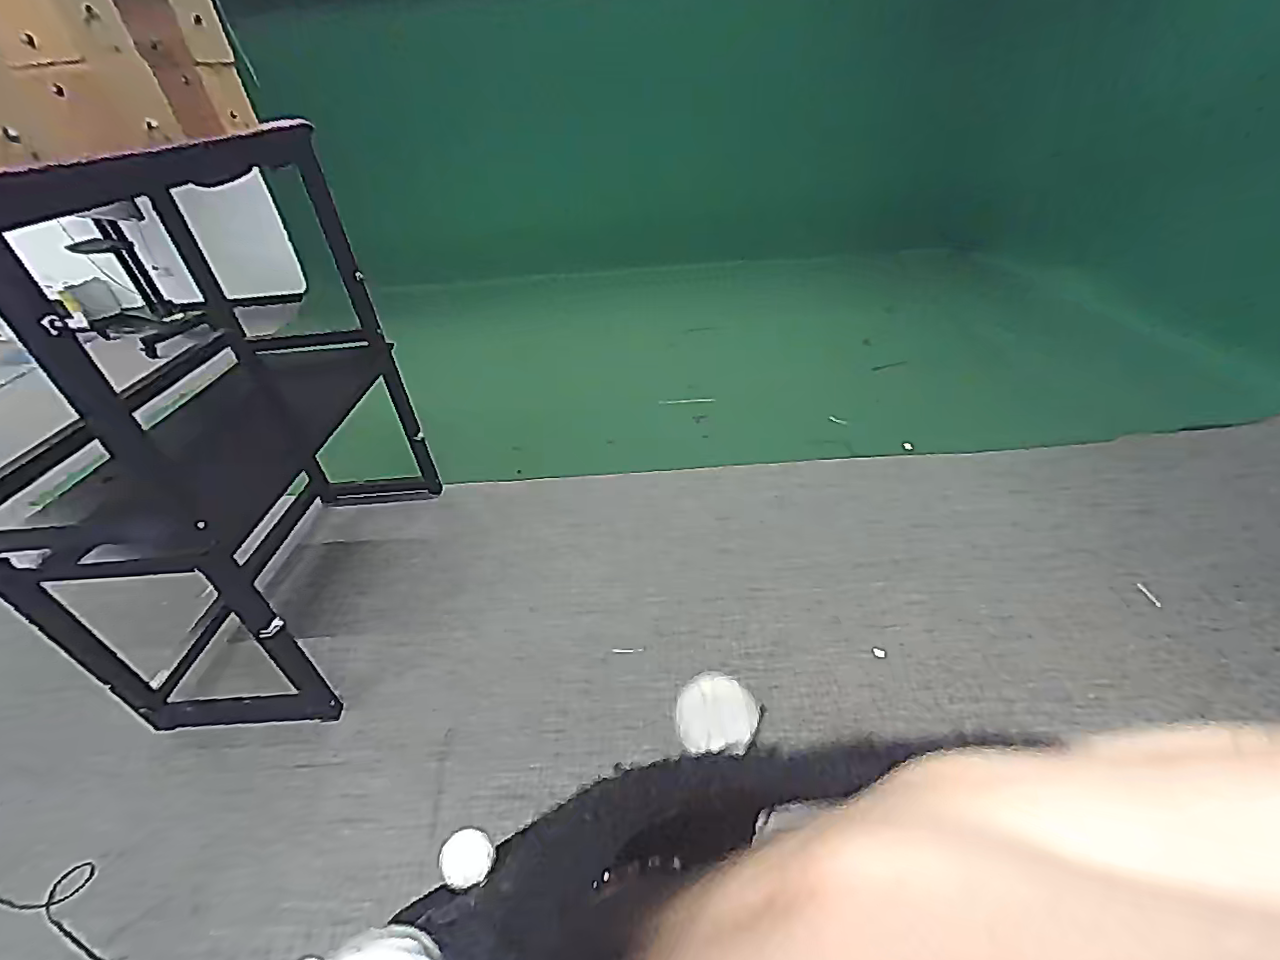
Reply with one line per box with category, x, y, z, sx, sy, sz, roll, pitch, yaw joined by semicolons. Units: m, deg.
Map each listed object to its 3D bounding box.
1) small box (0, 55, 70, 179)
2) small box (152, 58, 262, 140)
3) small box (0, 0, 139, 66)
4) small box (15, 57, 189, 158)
small box;-1.151;-0.598;0.905;0.179;0.176;0.168;-5;38;2
small box;-1.187;-1.033;1.468;0.179;0.176;0.168;-2;38;3
small box;-1.200;-0.954;1.101;0.179;0.176;0.168;-3;38;2
small box;-1.176;-0.825;1.201;0.179;0.176;0.168;-3;38;2
